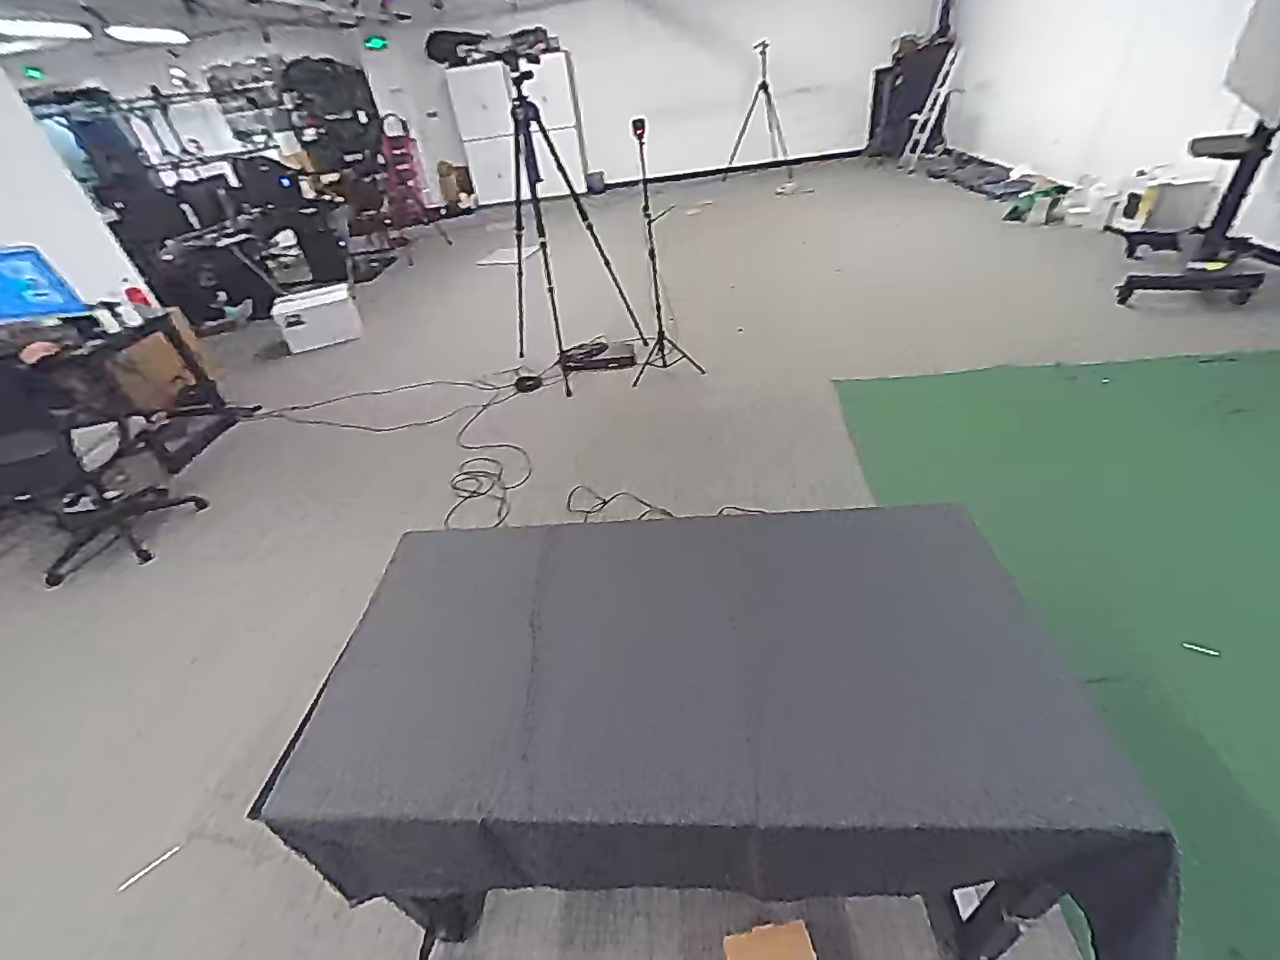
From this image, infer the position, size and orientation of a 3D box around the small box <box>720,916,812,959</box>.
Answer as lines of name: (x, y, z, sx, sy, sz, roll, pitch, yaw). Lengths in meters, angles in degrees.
small box: (0.254, 0.983, 1.035, 0.168, 0.176, 0.179, -11, 37, -2)
